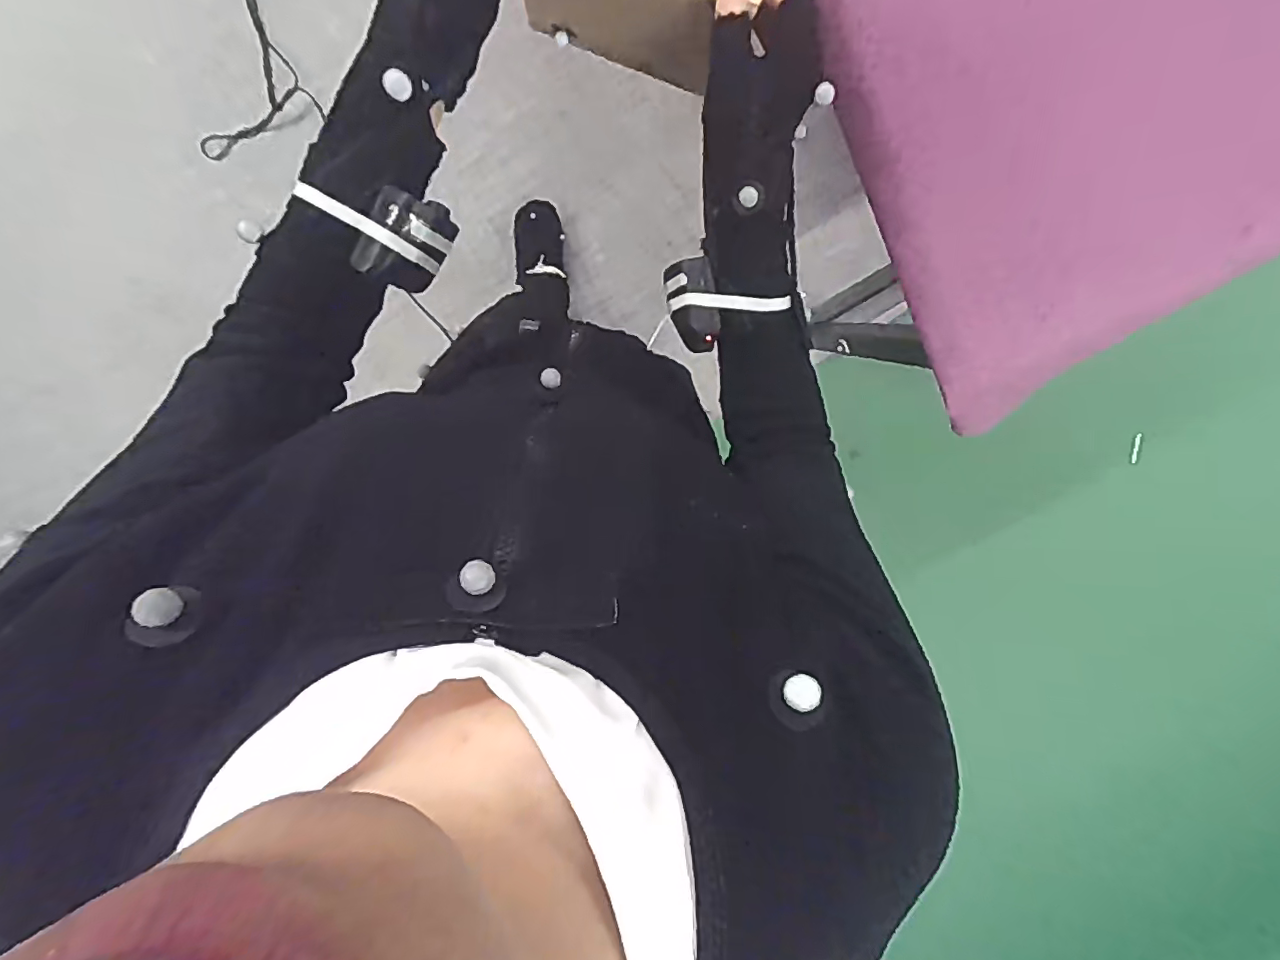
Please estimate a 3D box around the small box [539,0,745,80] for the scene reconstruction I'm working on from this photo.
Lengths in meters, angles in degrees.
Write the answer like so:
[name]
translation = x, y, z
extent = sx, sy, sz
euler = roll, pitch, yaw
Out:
[small box]
translation = 0.014, -0.427, 0.379
extent = 0.168, 0.176, 0.179
euler = 15, 106, -10
